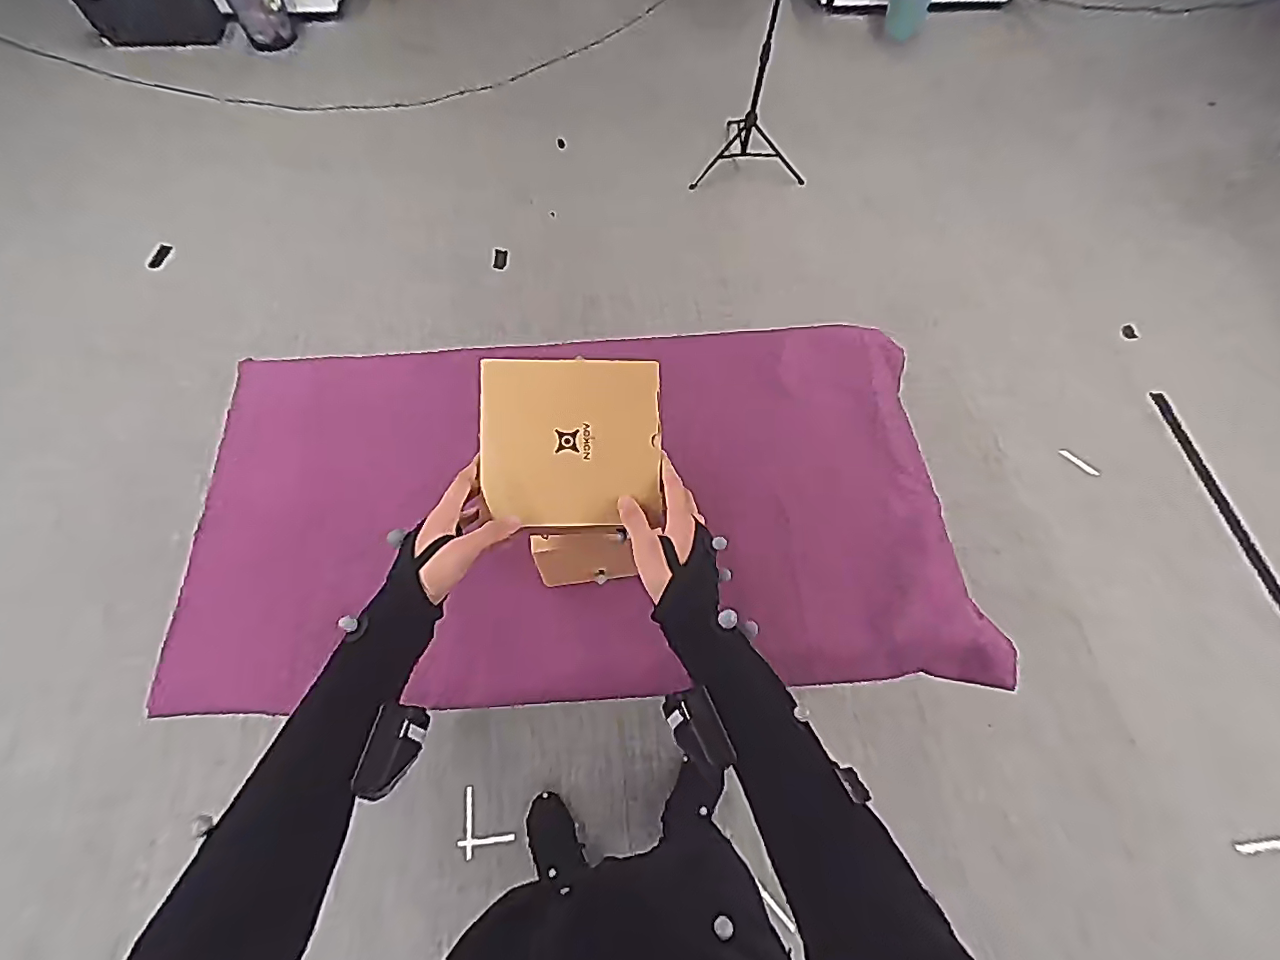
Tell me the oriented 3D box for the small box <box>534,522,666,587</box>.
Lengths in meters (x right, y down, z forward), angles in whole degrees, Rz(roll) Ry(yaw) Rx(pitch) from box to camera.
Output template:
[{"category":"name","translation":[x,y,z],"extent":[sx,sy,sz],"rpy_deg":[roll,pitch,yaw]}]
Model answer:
[{"category":"small box","translation":[-0.066,0.053,0.813],"extent":[0.179,0.176,0.168],"rpy_deg":[-6,63,-6]}]

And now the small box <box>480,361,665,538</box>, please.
[{"category":"small box","translation":[-0.071,-0.022,0.597],"extent":[0.179,0.176,0.168],"rpy_deg":[-1,82,-7]}]
